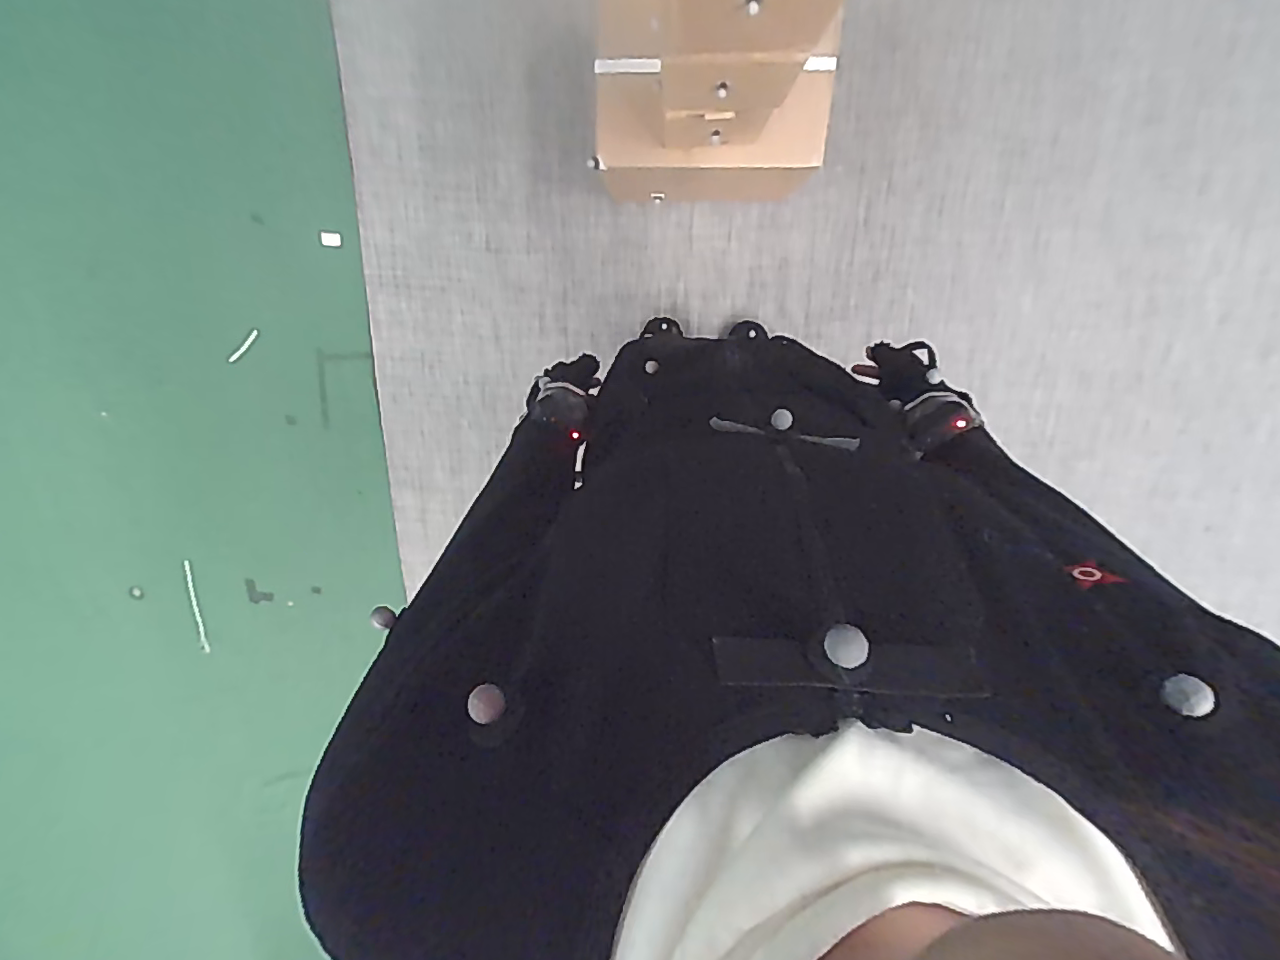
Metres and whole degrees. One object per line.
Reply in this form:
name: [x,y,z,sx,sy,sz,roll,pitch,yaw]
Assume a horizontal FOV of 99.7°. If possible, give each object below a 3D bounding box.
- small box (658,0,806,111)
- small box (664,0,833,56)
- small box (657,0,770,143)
small box: [0.113,-0.596,0.693,0.179,0.176,0.168,1,108,4]
small box: [0.111,-0.553,0.537,0.179,0.176,0.168,-1,109,2]
small box: [0.113,-0.647,0.850,0.168,0.176,0.179,-2,108,3]
